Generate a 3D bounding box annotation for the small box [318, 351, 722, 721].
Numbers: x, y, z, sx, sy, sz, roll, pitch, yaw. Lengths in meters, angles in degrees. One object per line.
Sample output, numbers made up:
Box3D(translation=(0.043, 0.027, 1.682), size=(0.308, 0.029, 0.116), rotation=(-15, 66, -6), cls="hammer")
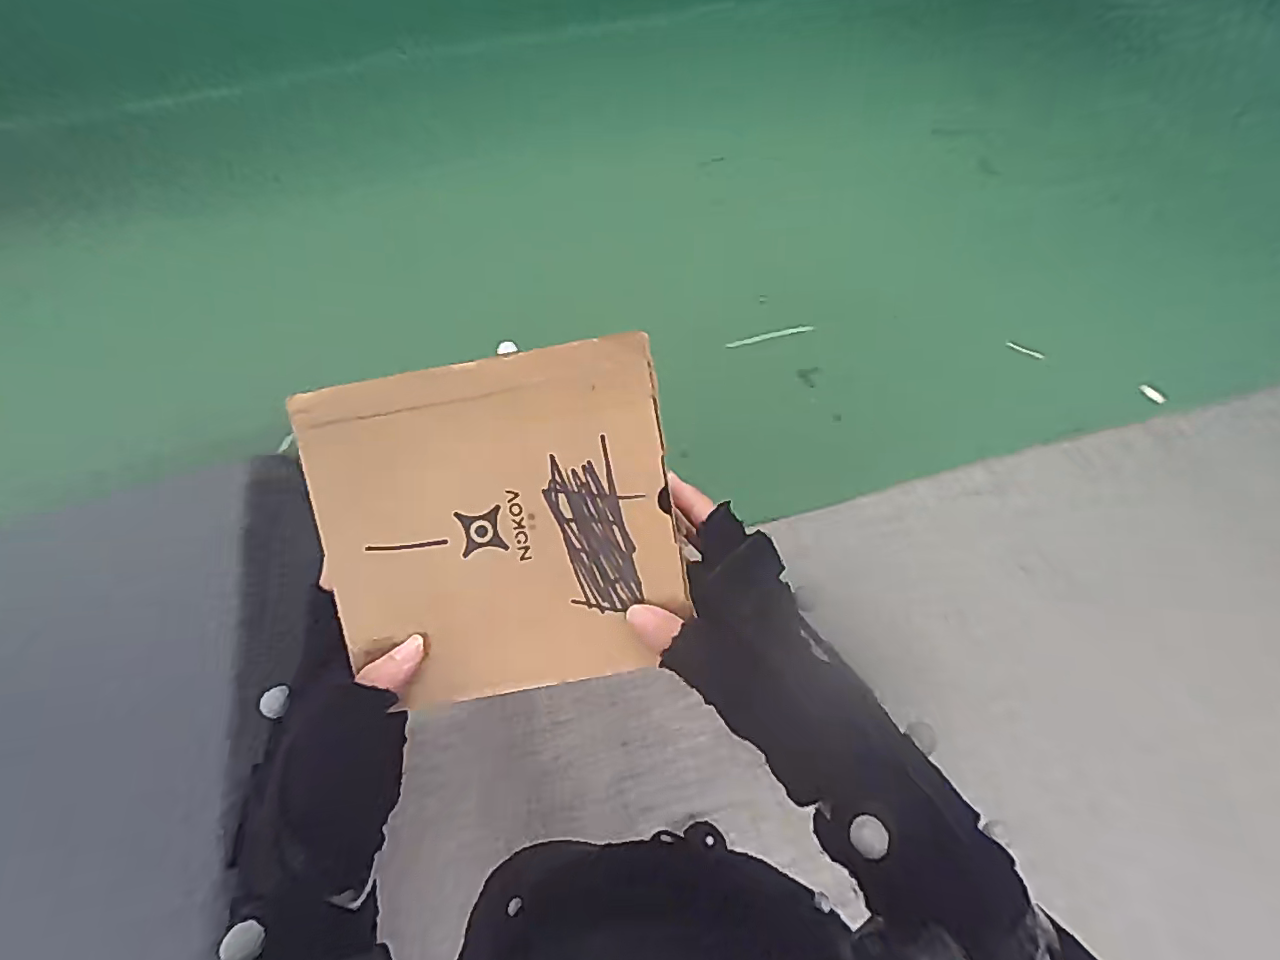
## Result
Box3D(translation=(-0.059, 0.020, 0.351), size=(0.179, 0.176, 0.168), rotation=(-12, 97, 0), cls="small box")
